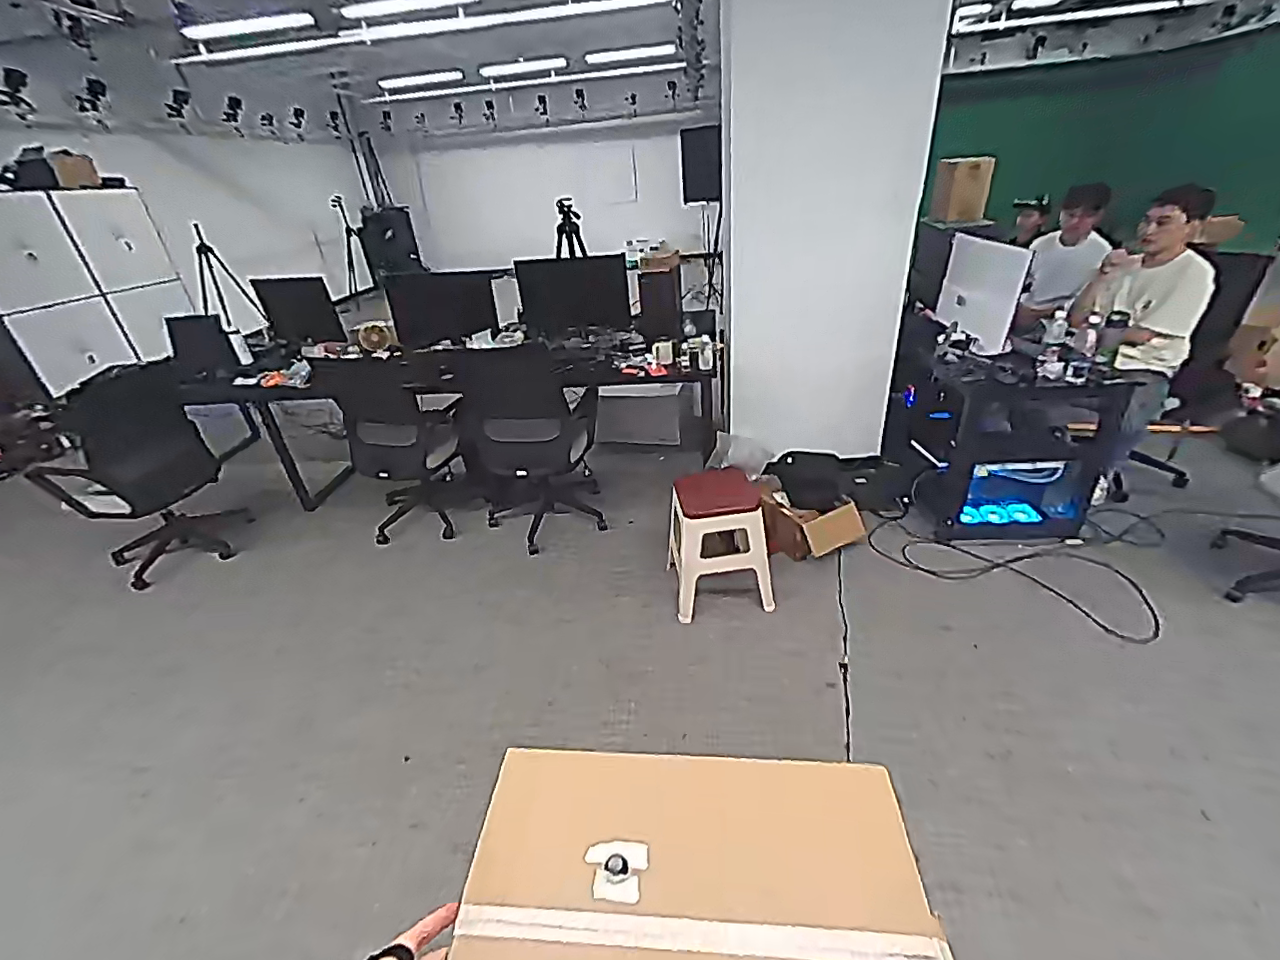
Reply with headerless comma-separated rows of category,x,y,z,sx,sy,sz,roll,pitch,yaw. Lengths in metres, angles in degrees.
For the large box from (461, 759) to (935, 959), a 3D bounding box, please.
large box,0.058,0.514,0.545,0.408,0.320,0.320,-2,32,6
